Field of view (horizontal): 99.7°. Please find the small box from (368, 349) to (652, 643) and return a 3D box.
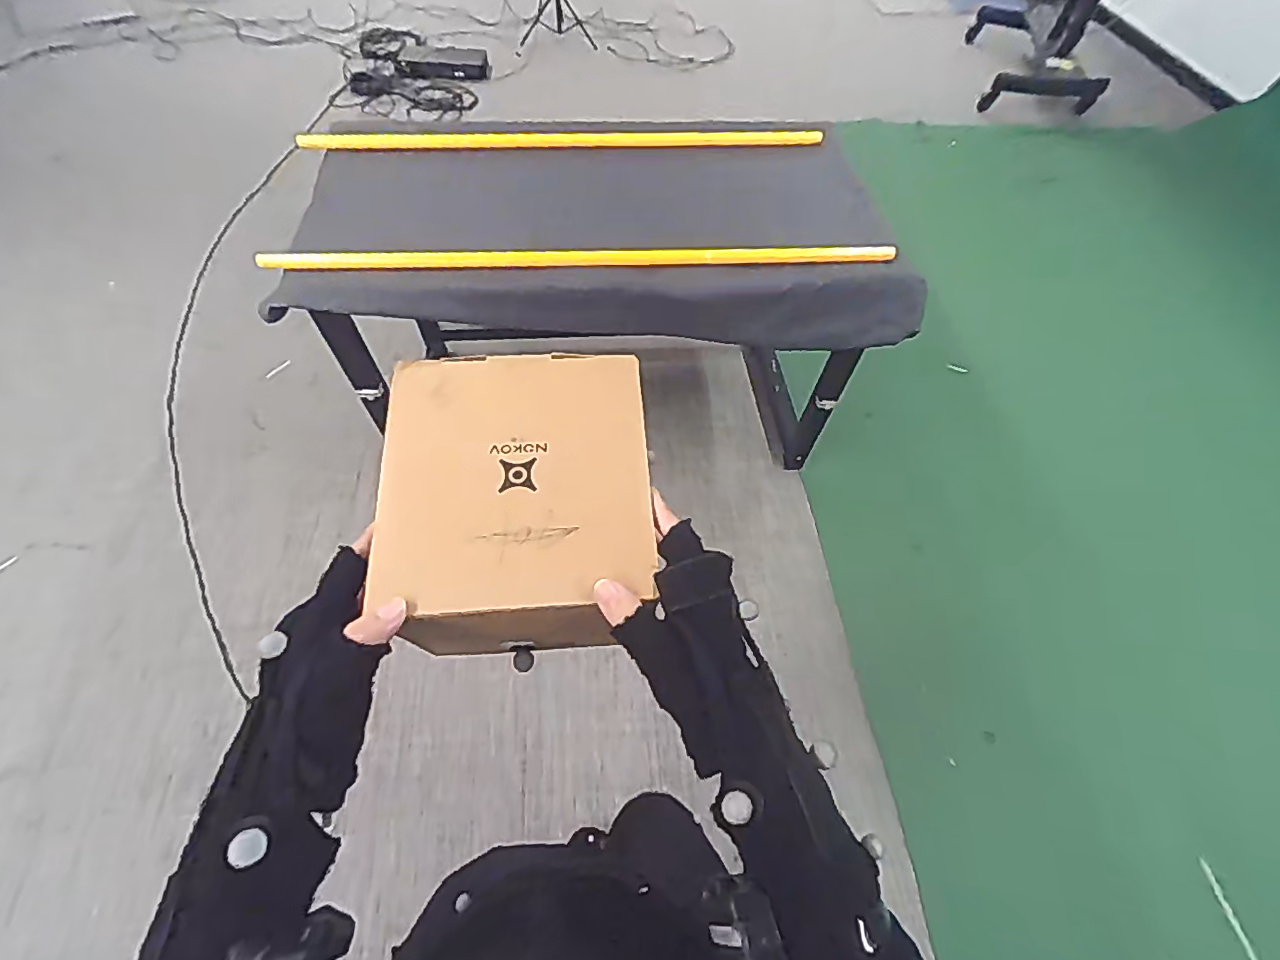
[{"bbox_3d":[-0.085,0.020,0.419,0.168,0.176,0.179,-2,66,-5],"label":"small box"}]
